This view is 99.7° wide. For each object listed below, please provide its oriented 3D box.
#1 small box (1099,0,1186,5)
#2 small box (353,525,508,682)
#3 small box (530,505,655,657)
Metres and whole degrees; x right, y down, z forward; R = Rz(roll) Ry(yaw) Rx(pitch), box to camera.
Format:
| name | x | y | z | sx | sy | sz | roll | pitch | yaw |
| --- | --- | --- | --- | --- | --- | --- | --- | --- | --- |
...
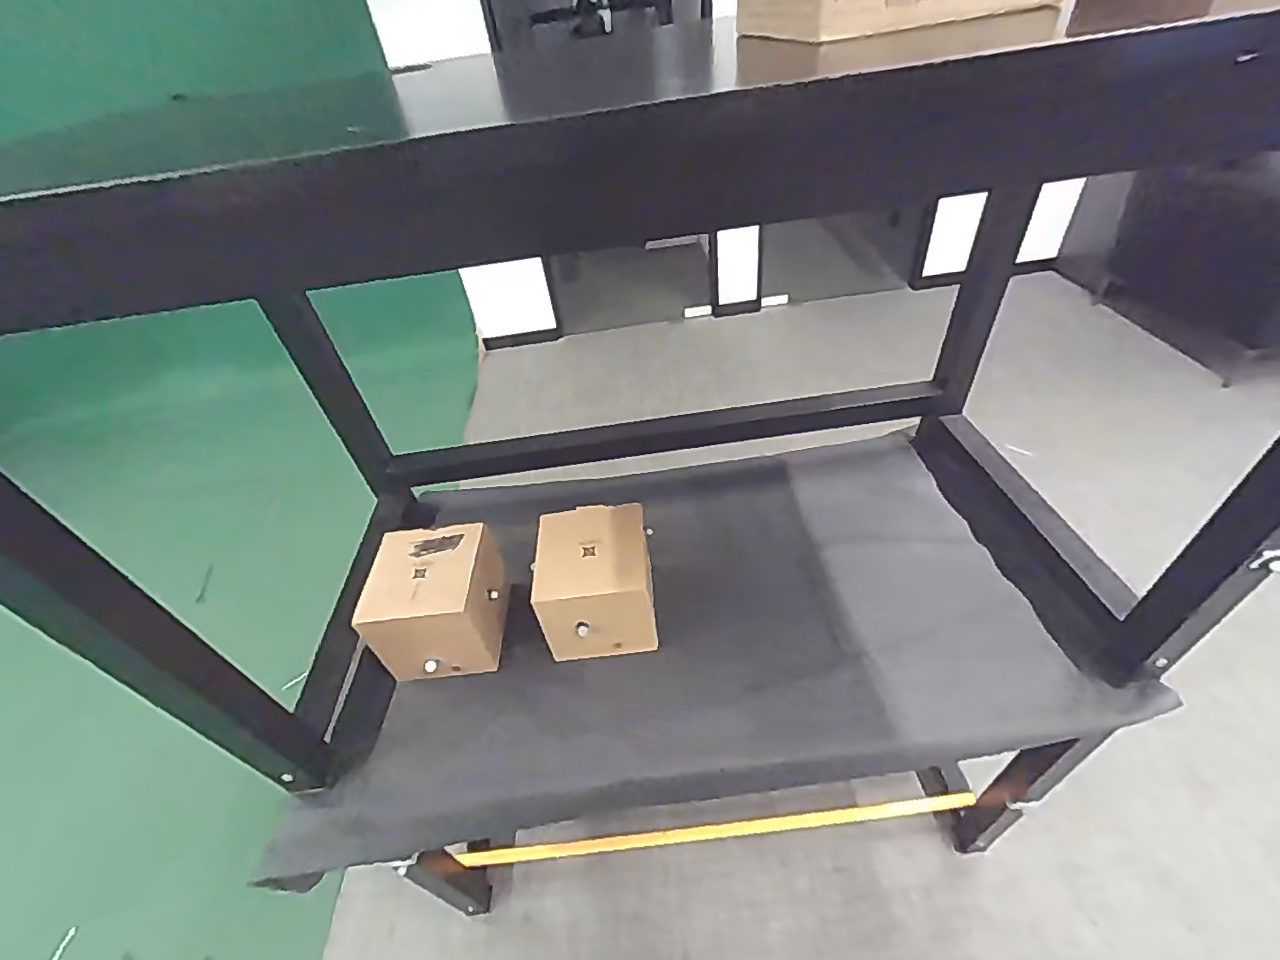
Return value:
| name | x | y | z | sx | sy | sz | roll | pitch | yaw |
| --- | --- | --- | --- | --- | --- | --- | --- | --- | --- |
| small box | 0.415 | -0.400 | 0.316 | 0.168 | 0.176 | 0.179 | 0 | 42 | 9 |
| small box | -0.320 | 0.199 | 0.873 | 0.168 | 0.176 | 0.179 | -7 | 42 | 2 |
| small box | -0.069 | 0.168 | 0.869 | 0.168 | 0.176 | 0.179 | -7 | 41 | 1 |
